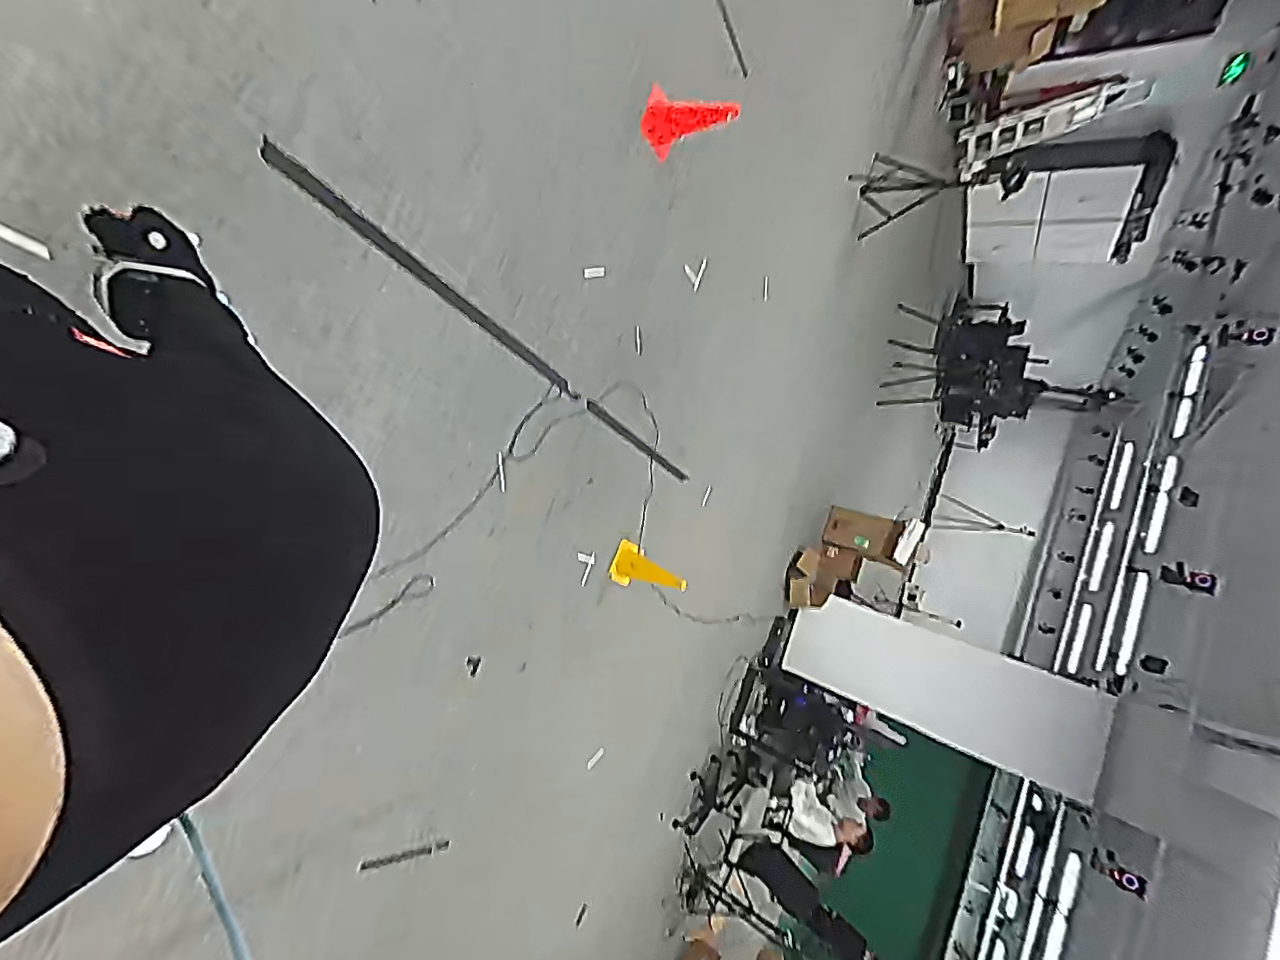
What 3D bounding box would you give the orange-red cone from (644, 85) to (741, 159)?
[{"bbox_3d":[0.222,-1.404,2.084,0.199,0.360,0.198,25,82,-54],"label":"orange-red cone"}]
